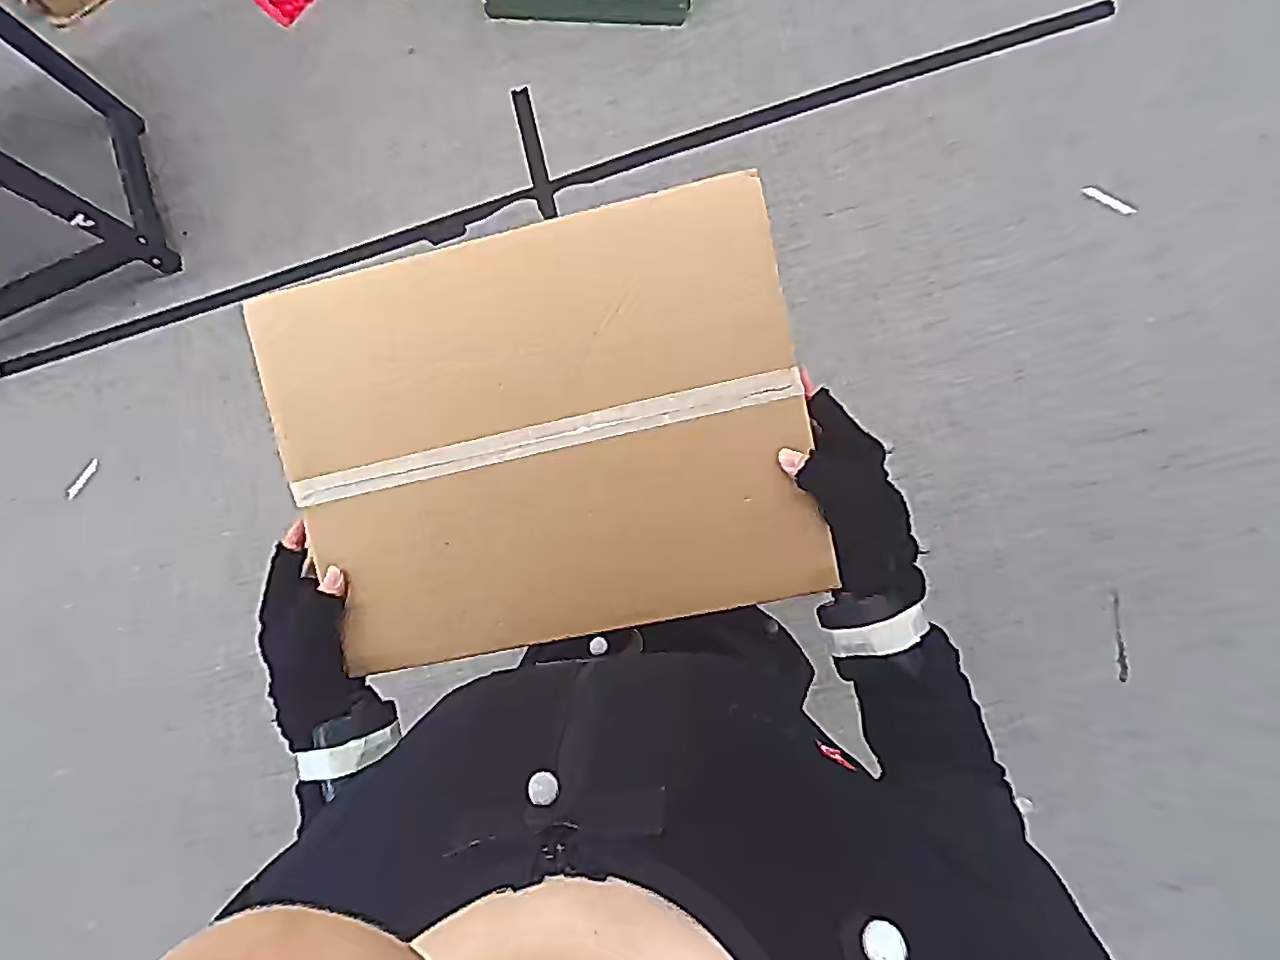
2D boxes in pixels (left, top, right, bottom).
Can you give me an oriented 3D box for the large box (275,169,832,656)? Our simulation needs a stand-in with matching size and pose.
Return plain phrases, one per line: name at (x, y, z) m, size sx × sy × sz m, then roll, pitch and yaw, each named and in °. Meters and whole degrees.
large box at (-0.063, -0.052, 0.575) m, size 0.408 × 0.320 × 0.320 m, roll -12°, pitch 95°, yaw 6°
